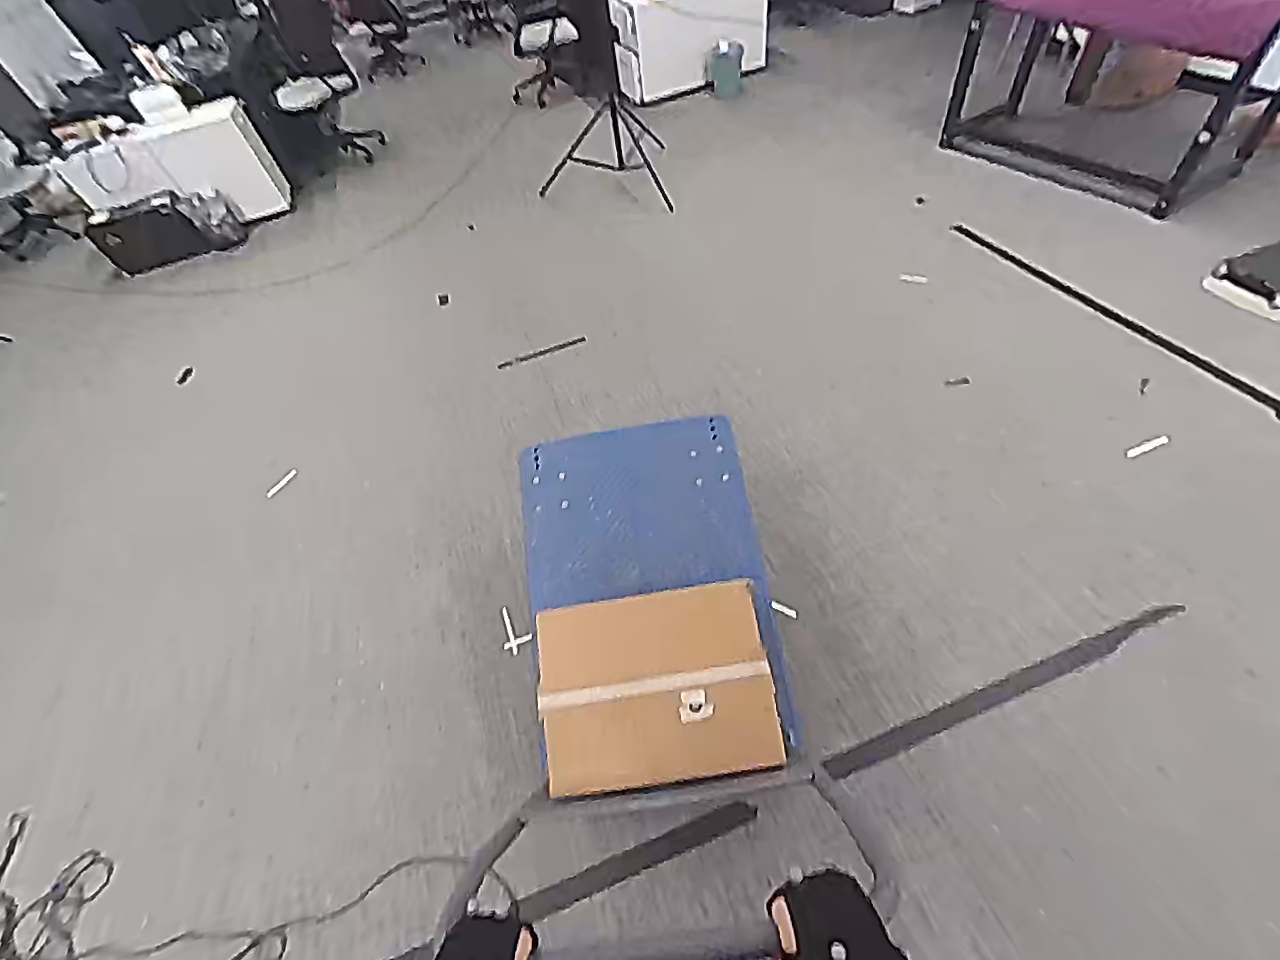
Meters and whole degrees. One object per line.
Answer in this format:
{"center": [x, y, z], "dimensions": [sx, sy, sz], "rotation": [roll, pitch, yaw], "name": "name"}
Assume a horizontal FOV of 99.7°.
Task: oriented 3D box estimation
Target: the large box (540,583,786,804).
{"center": [0.039, 0.426, 1.109], "dimensions": [0.408, 0.320, 0.320], "rotation": [-11, 70, 0], "name": "large box"}
